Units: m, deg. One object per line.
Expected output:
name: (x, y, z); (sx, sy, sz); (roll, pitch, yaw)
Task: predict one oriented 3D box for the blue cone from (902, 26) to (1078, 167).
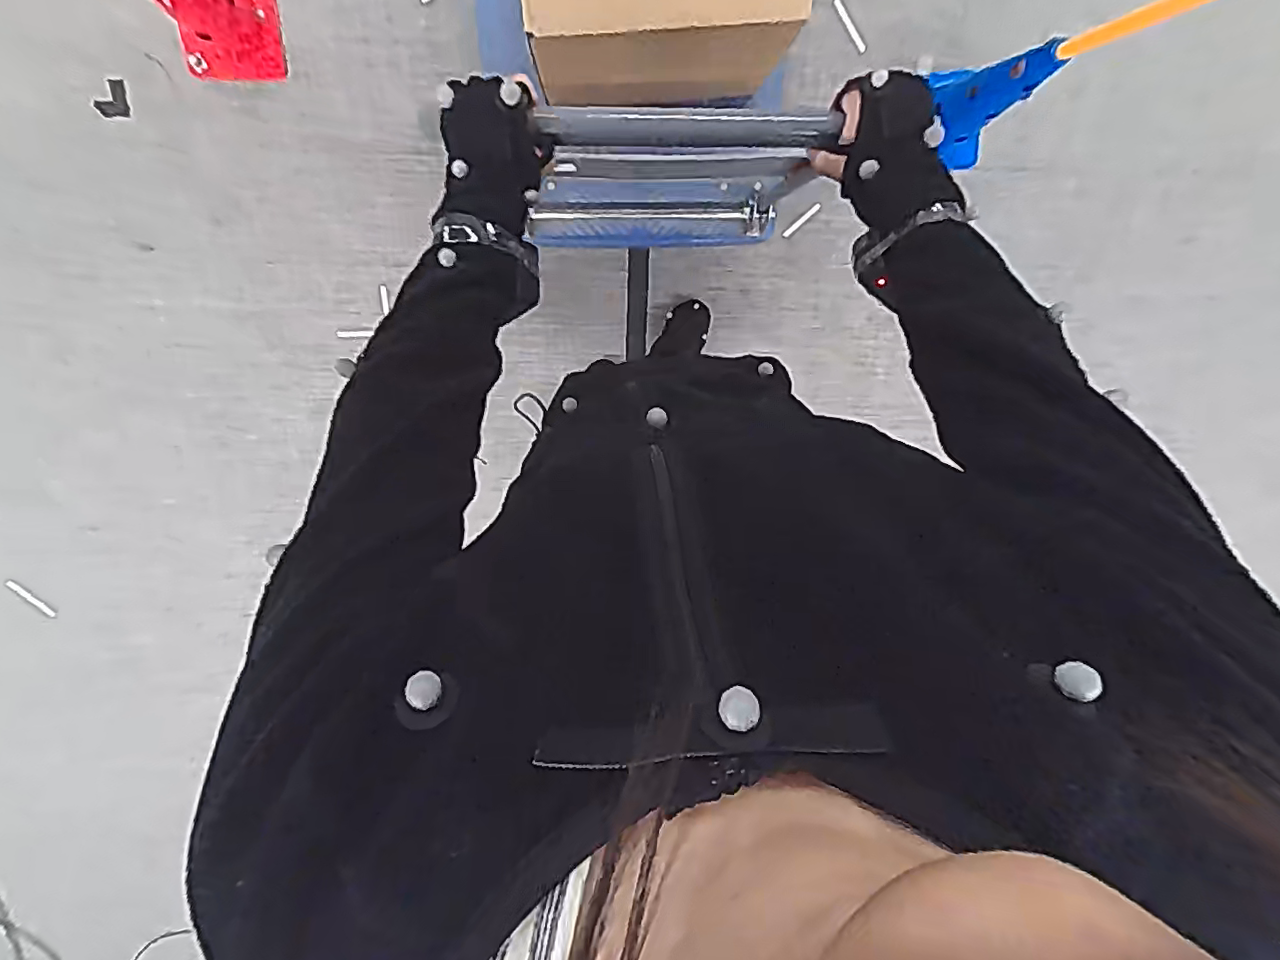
blue cone: (0.705, -0.782, 1.084); (0.193, 0.380, 0.192); (-4, 106, -3)
